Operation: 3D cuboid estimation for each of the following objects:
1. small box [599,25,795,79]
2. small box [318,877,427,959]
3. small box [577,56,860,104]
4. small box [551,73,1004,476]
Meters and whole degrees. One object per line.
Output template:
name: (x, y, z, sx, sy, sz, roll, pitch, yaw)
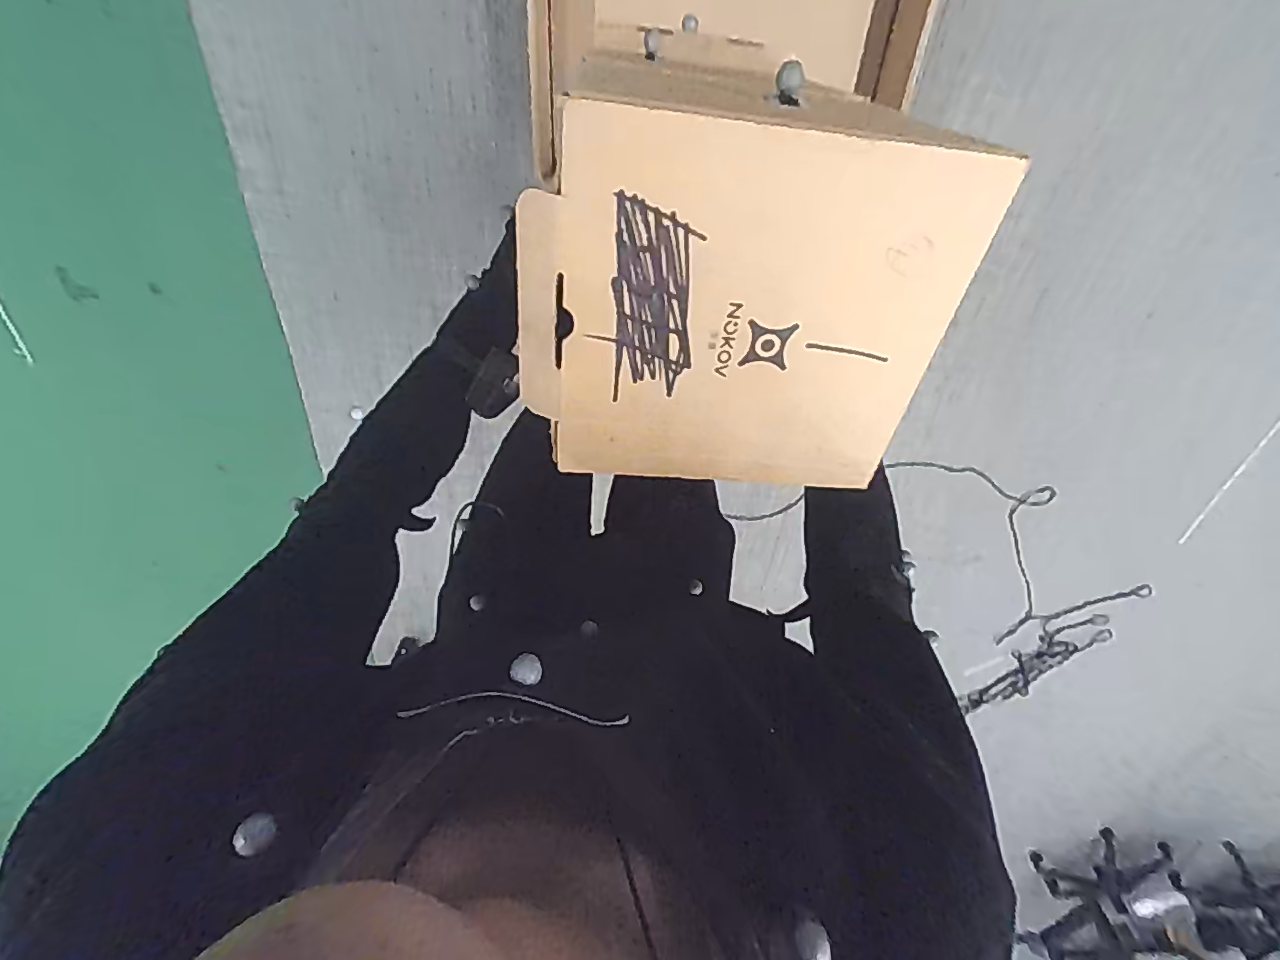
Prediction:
small box: (0.040, -0.343, 0.556, 0.168, 0.176, 0.179, 4, 128, -4)
small box: (-0.648, 1.107, 1.331, 0.179, 0.176, 0.168, 4, 124, -2)
small box: (0.042, -0.229, 0.437, 0.179, 0.176, 0.168, 4, 130, -4)
small box: (0.047, -0.123, 0.314, 0.179, 0.176, 0.168, 4, 130, -4)
